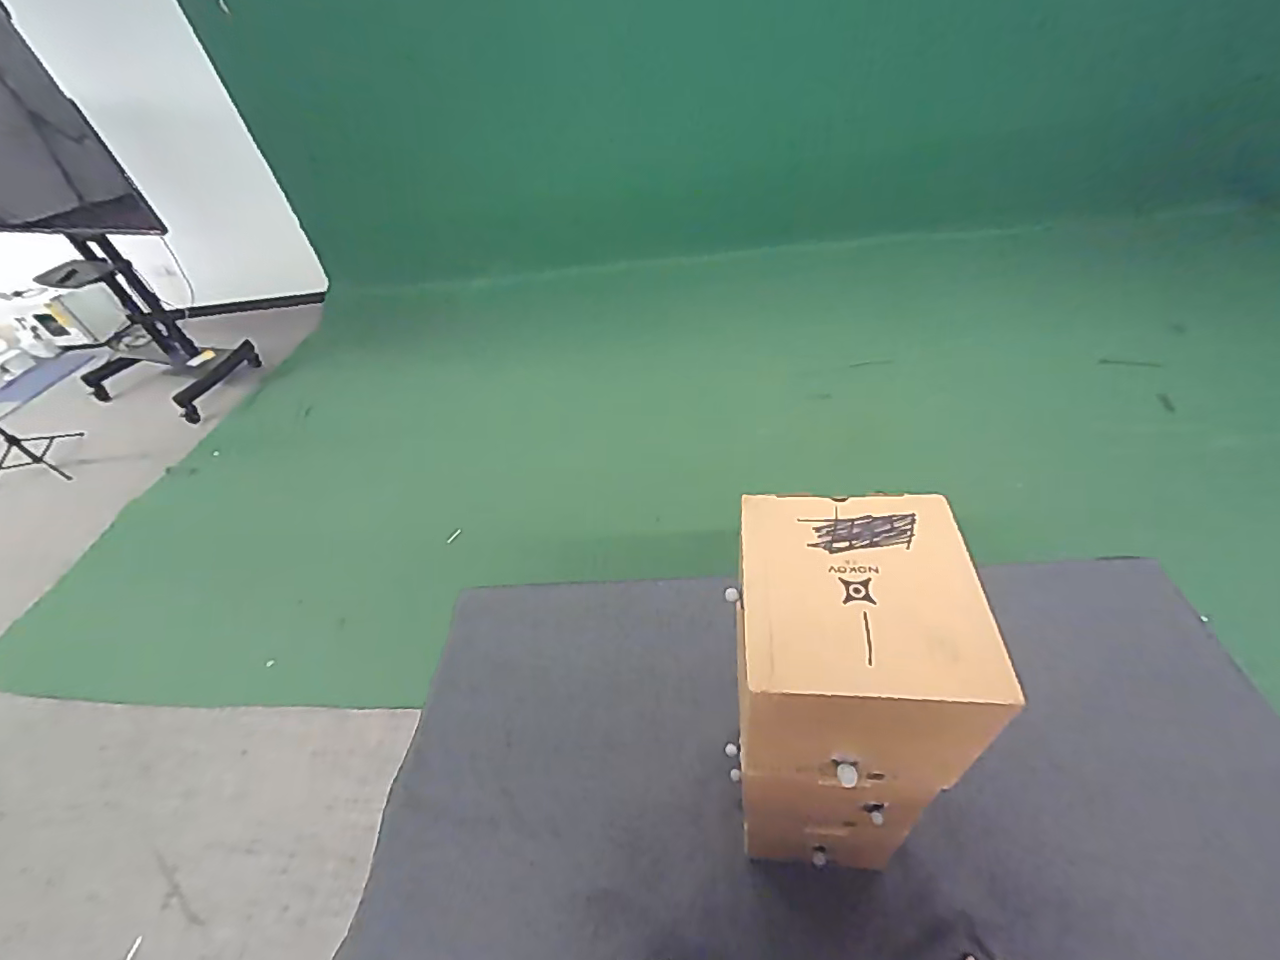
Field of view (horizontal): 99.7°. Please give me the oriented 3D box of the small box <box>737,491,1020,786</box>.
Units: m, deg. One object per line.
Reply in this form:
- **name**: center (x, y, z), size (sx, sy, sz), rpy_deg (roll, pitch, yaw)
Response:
- **small box**: center (0.166, 0.128, 0.449), size (0.168, 0.176, 0.179), rpy_deg (-1, 47, 10)

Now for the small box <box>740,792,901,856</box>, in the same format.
- **small box**: center (0.210, 0.353, 0.681), size (0.168, 0.176, 0.179), rpy_deg (-2, 46, 10)

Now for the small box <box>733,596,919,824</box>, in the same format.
- **small box**: center (0.185, 0.240, 0.567), size (0.168, 0.176, 0.179), rpy_deg (-2, 44, 8)
